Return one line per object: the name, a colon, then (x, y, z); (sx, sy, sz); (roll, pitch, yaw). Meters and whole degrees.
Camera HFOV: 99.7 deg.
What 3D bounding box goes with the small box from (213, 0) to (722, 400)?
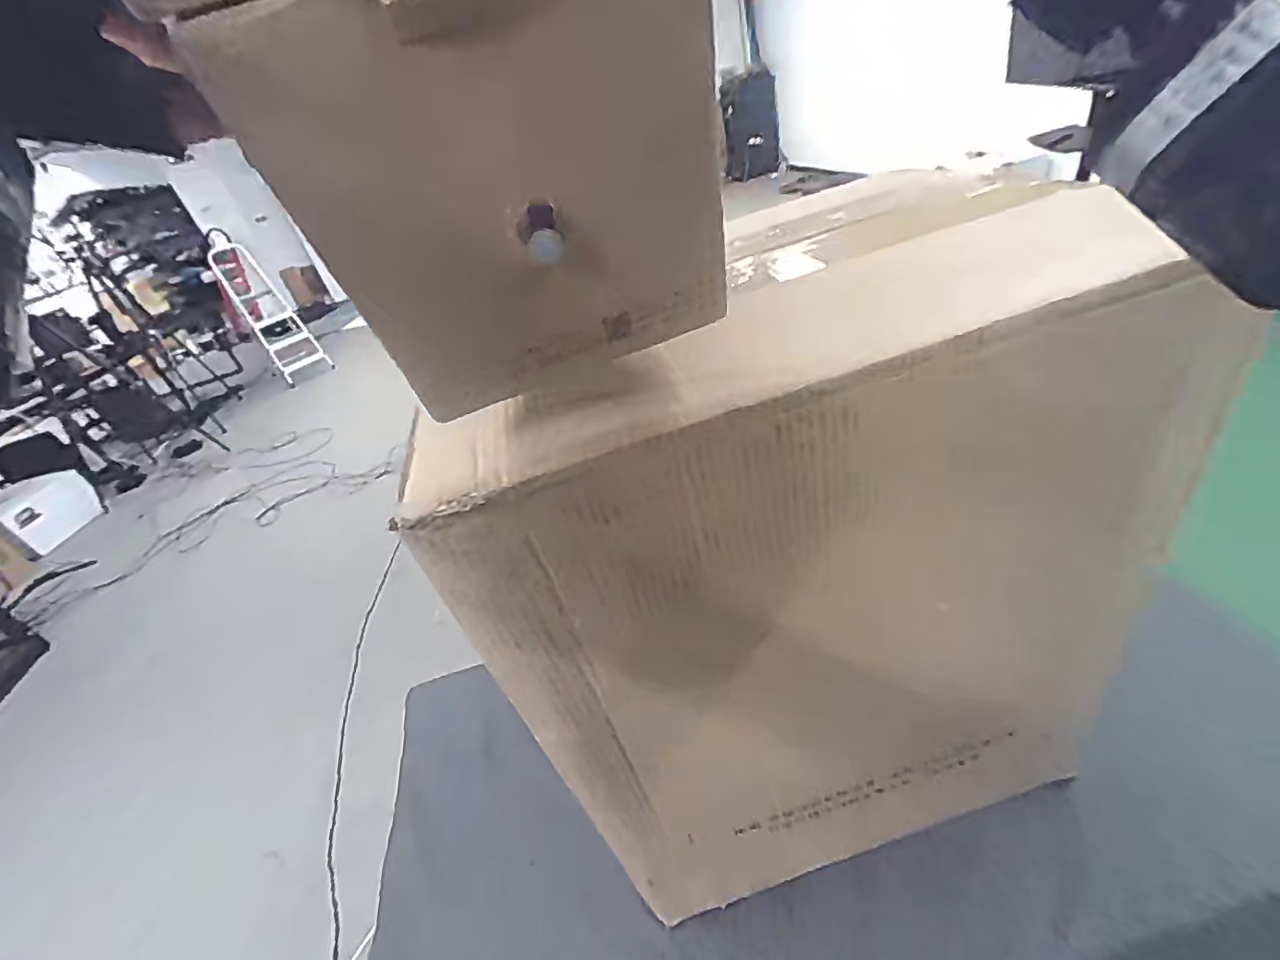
small box: (-0.066, -0.163, 0.278); (0.168, 0.176, 0.179); (-22, 54, -4)
